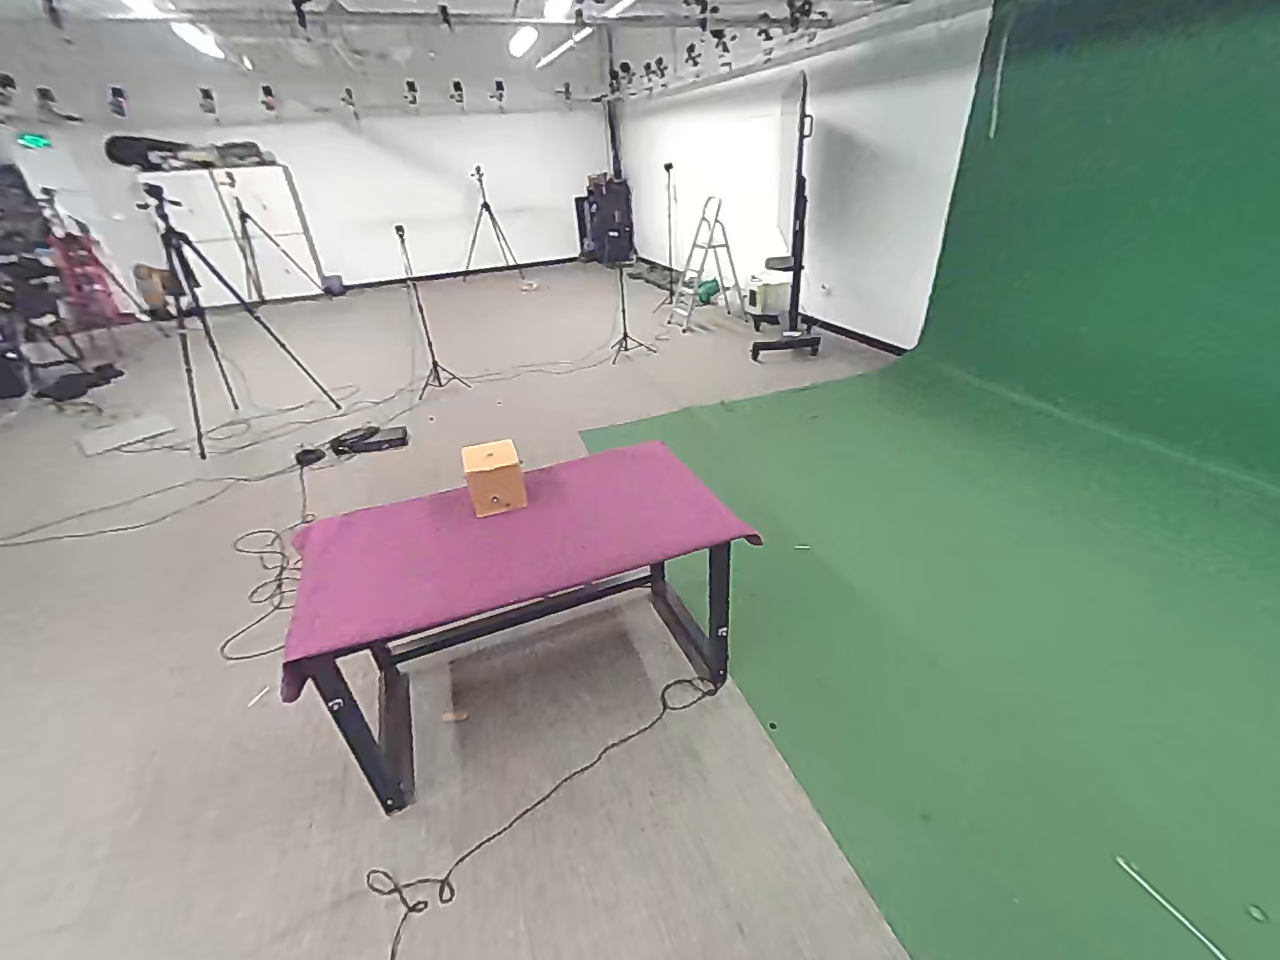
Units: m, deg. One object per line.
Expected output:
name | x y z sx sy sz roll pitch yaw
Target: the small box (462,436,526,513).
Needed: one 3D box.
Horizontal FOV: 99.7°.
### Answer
small box | -0.469 -0.018 1.740 0.168 0.176 0.179 -12 34 -16
